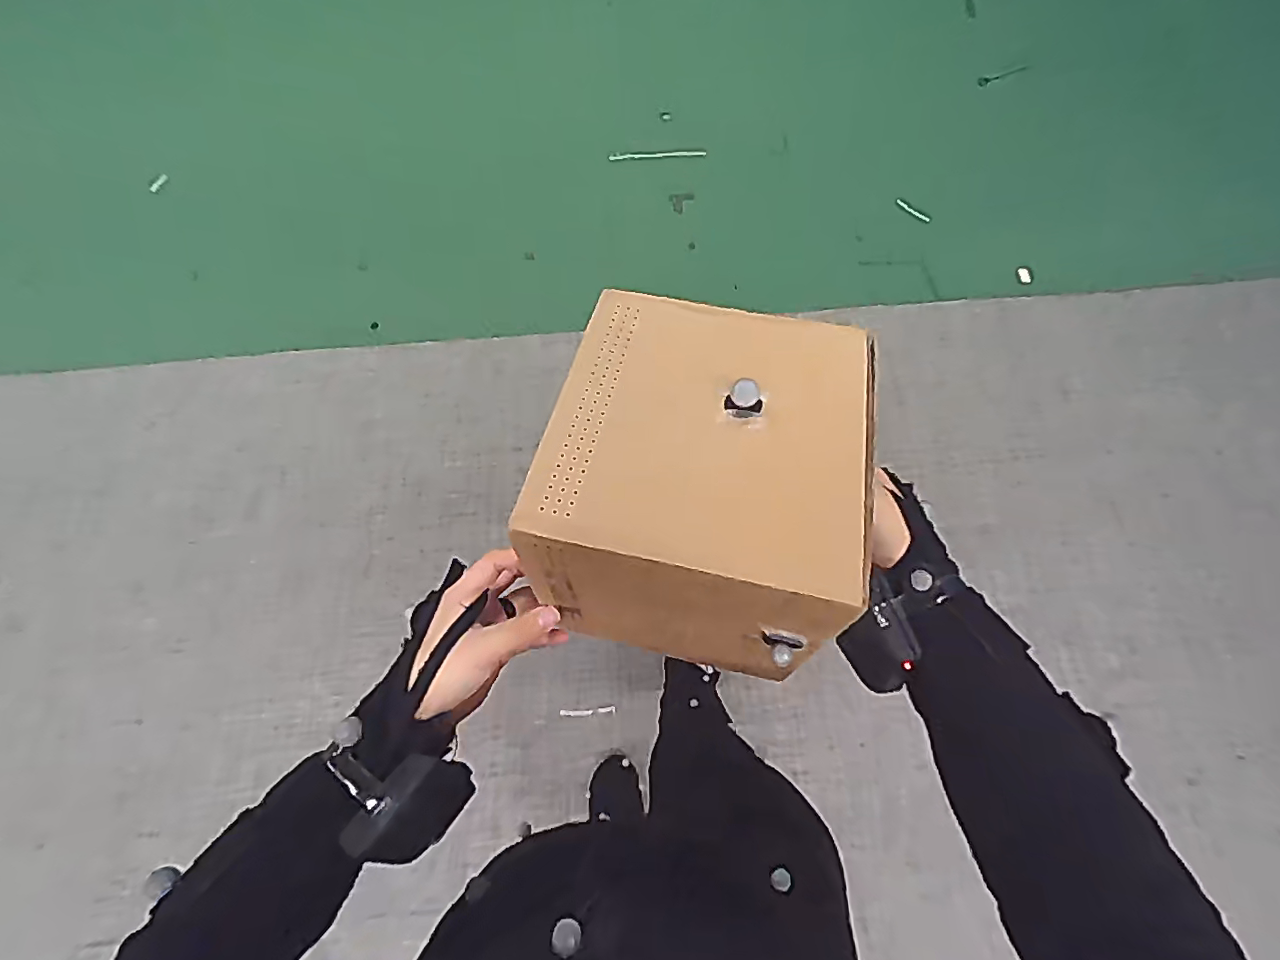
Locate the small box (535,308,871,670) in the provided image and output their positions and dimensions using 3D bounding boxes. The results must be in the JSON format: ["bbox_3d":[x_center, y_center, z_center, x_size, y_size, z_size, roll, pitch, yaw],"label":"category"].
[{"bbox_3d":[0.039,0.007,0.368,0.176,0.168,0.179,10,58,6],"label":"small box"}]
